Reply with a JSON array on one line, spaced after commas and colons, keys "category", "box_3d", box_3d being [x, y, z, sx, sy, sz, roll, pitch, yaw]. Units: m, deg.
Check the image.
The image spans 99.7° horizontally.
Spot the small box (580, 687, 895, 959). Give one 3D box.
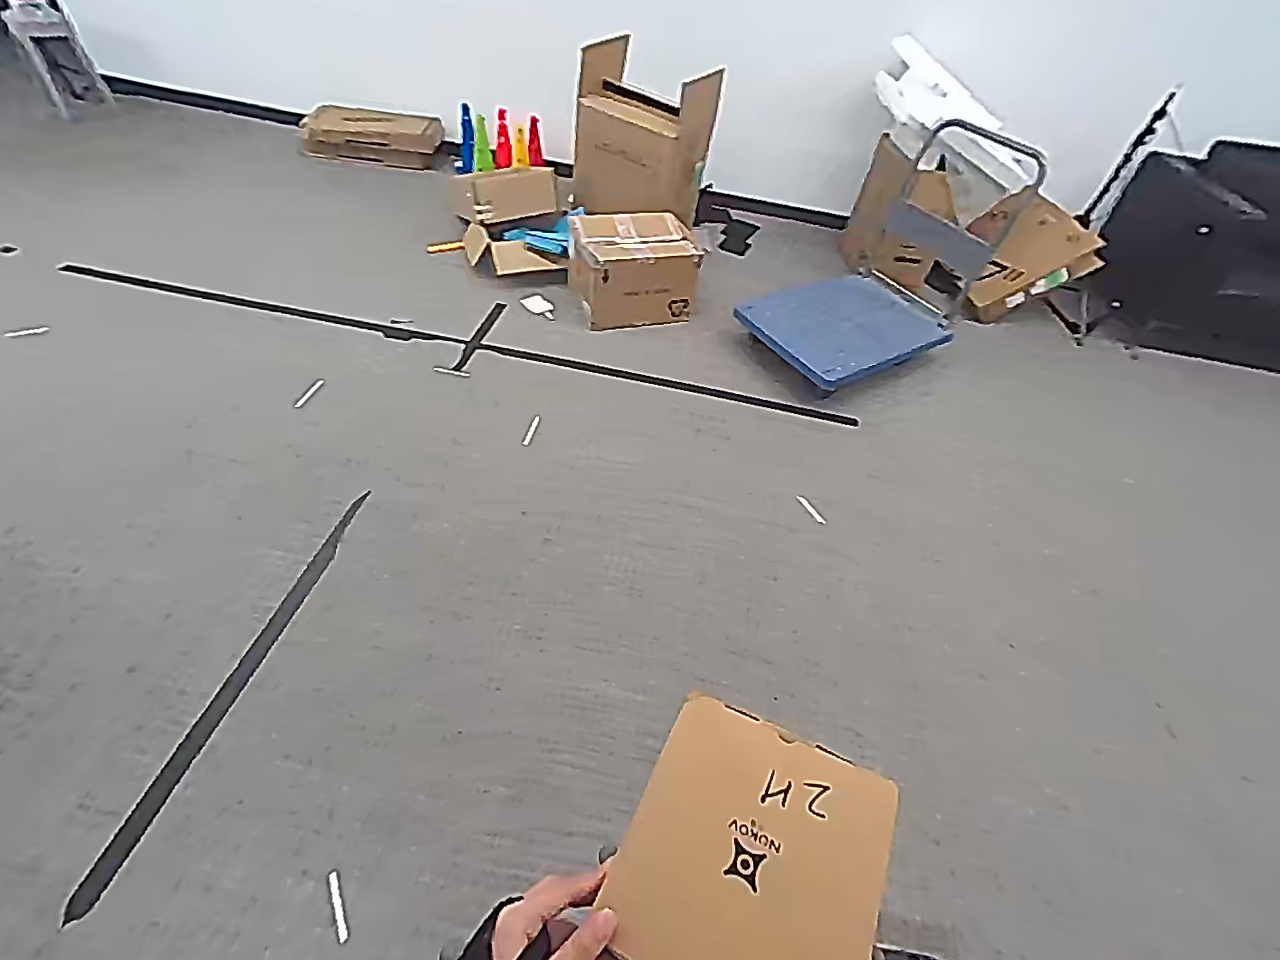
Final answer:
[{"category": "small box", "box_3d": [0.077, 0.304, 0.419, 0.168, 0.176, 0.179, 18, 49, 21]}]
